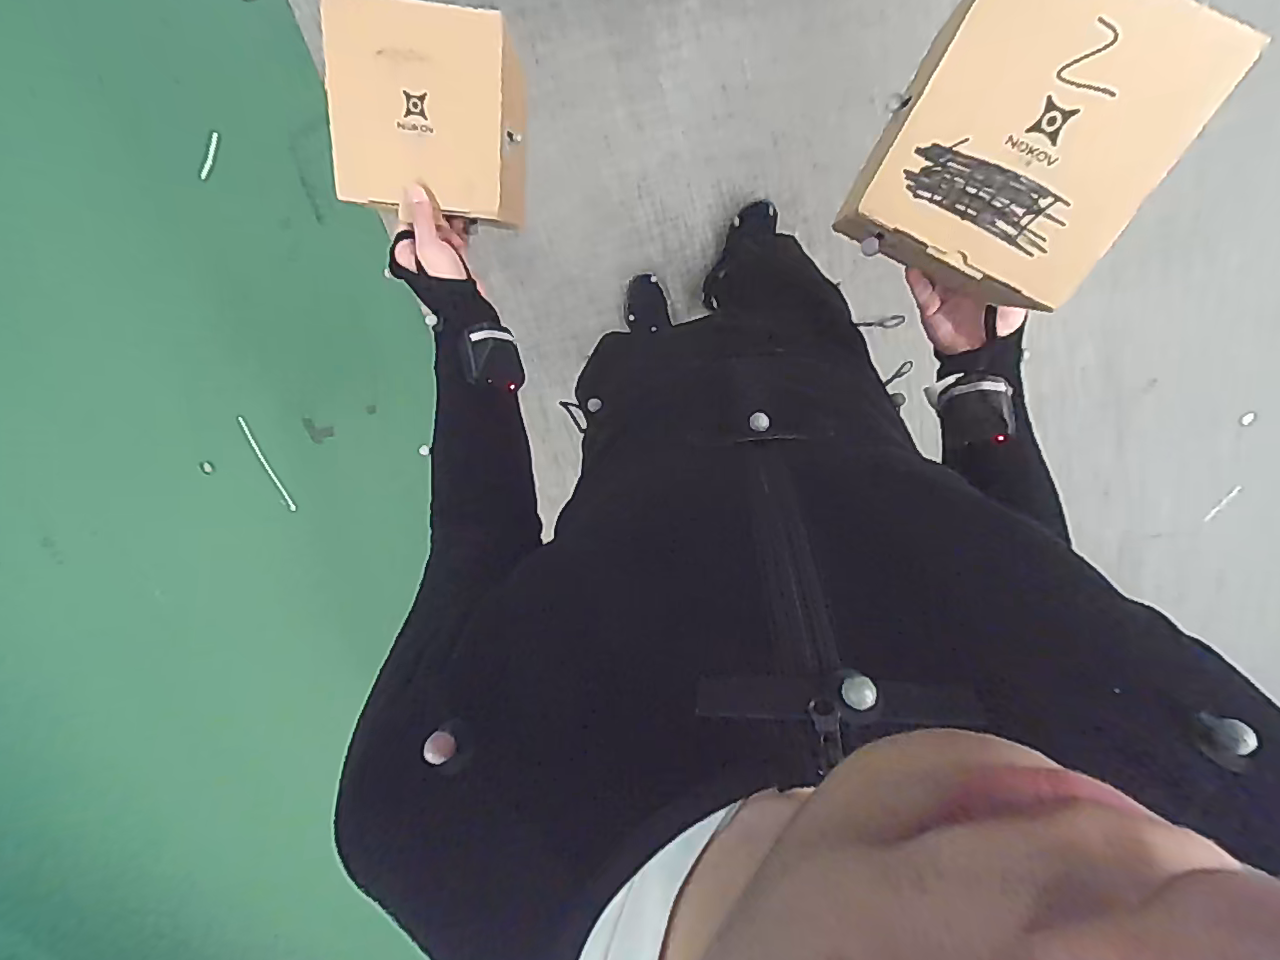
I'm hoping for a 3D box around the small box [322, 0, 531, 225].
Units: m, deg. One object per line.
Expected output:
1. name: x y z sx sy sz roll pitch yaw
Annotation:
1. small box: -0.217 -0.390 0.594 0.168 0.176 0.179 5 108 -4
